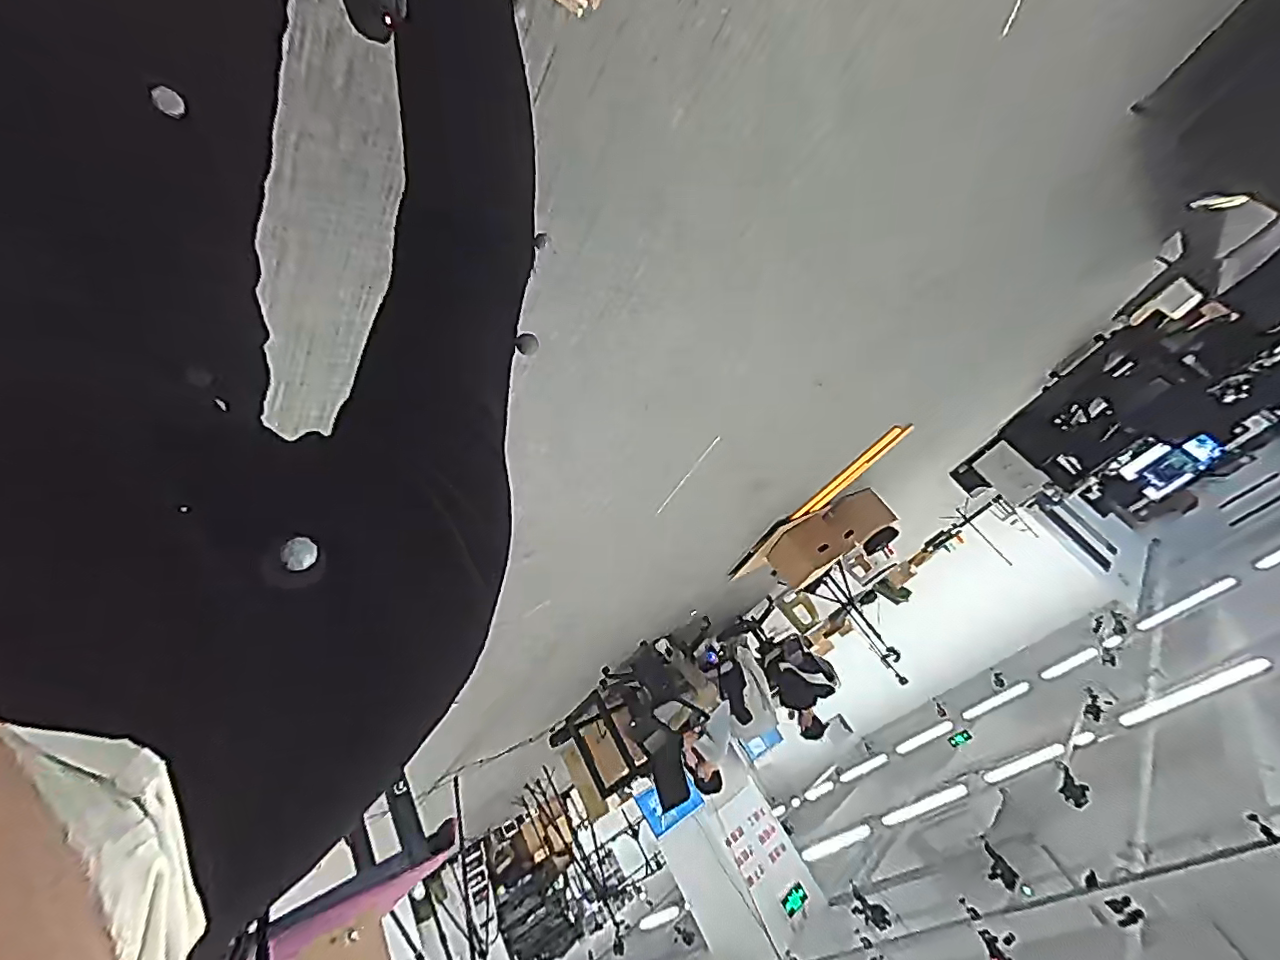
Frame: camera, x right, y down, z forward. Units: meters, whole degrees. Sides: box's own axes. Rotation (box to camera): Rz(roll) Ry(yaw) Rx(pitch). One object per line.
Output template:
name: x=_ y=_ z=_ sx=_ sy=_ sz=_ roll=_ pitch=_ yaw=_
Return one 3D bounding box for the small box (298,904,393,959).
small box: x=-0.711 y=1.173 z=1.308 sx=0.168 sy=0.176 sz=0.179 roll=-7 pitch=143 yaw=-44
